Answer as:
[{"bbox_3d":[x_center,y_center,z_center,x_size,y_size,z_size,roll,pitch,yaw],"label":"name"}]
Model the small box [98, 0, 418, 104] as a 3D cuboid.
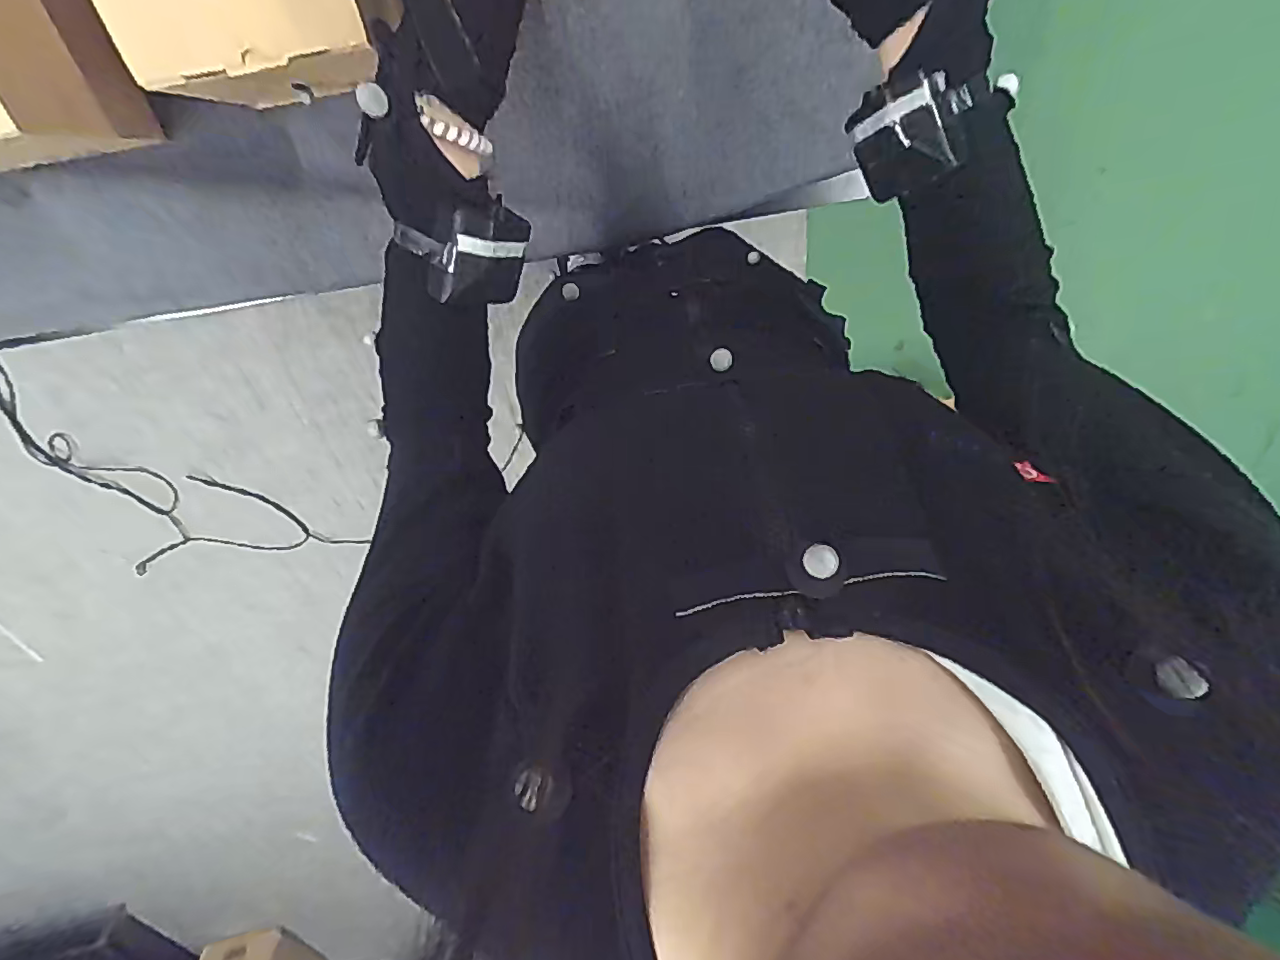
[{"bbox_3d":[-0.289,-0.402,0.402,0.168,0.176,0.179,-12,123,-1],"label":"small box"}]
